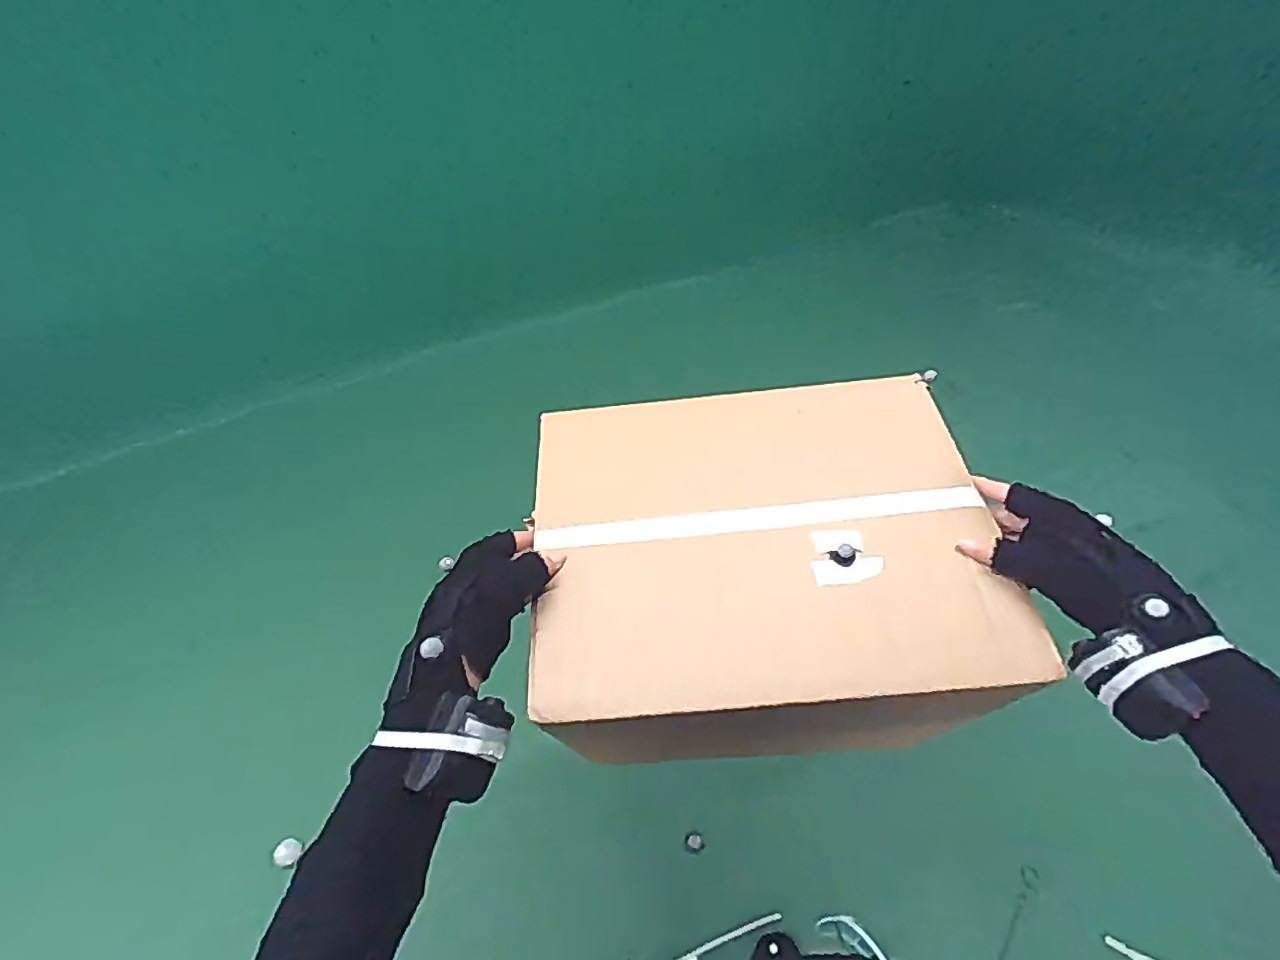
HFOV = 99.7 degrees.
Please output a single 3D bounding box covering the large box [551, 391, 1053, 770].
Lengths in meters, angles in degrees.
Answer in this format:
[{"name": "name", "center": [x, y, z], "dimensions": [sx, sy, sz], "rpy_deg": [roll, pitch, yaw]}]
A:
[{"name": "large box", "center": [0.125, 0.131, 0.627], "dimensions": [0.408, 0.320, 0.320], "rpy_deg": [-5, 56, 2]}]
